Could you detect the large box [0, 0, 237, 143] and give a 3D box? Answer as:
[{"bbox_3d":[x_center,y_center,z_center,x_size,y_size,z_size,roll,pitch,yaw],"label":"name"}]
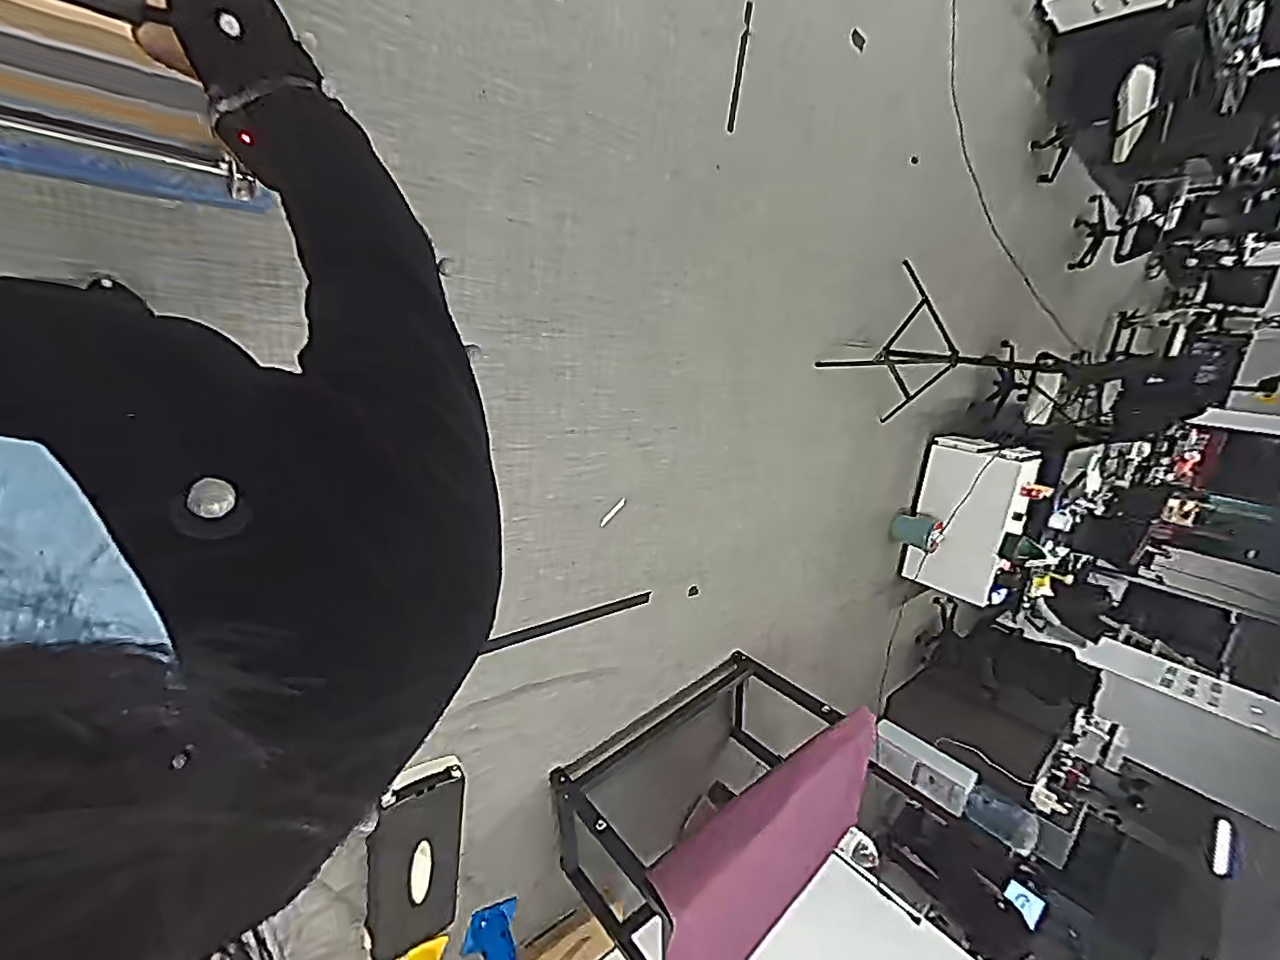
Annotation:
[{"bbox_3d":[-0.786,-0.679,0.677,0.408,0.320,0.320,-7,110,-42],"label":"large box"}]
